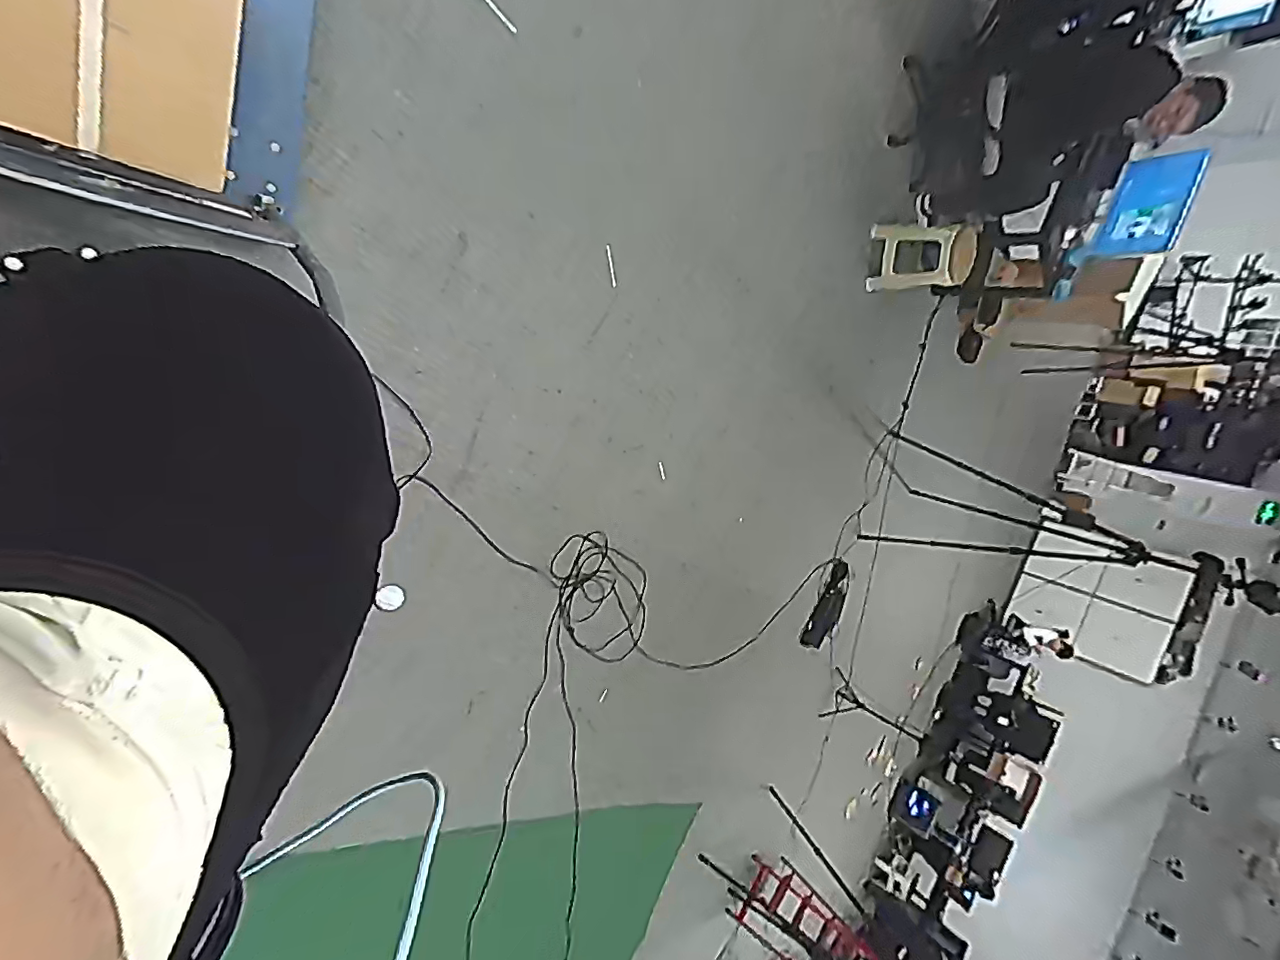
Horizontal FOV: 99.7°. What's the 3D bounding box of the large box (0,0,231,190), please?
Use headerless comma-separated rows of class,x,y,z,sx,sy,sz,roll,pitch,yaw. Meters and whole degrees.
large box,-0.827,-0.712,0.804,0.320,0.320,0.408,3,115,-45
